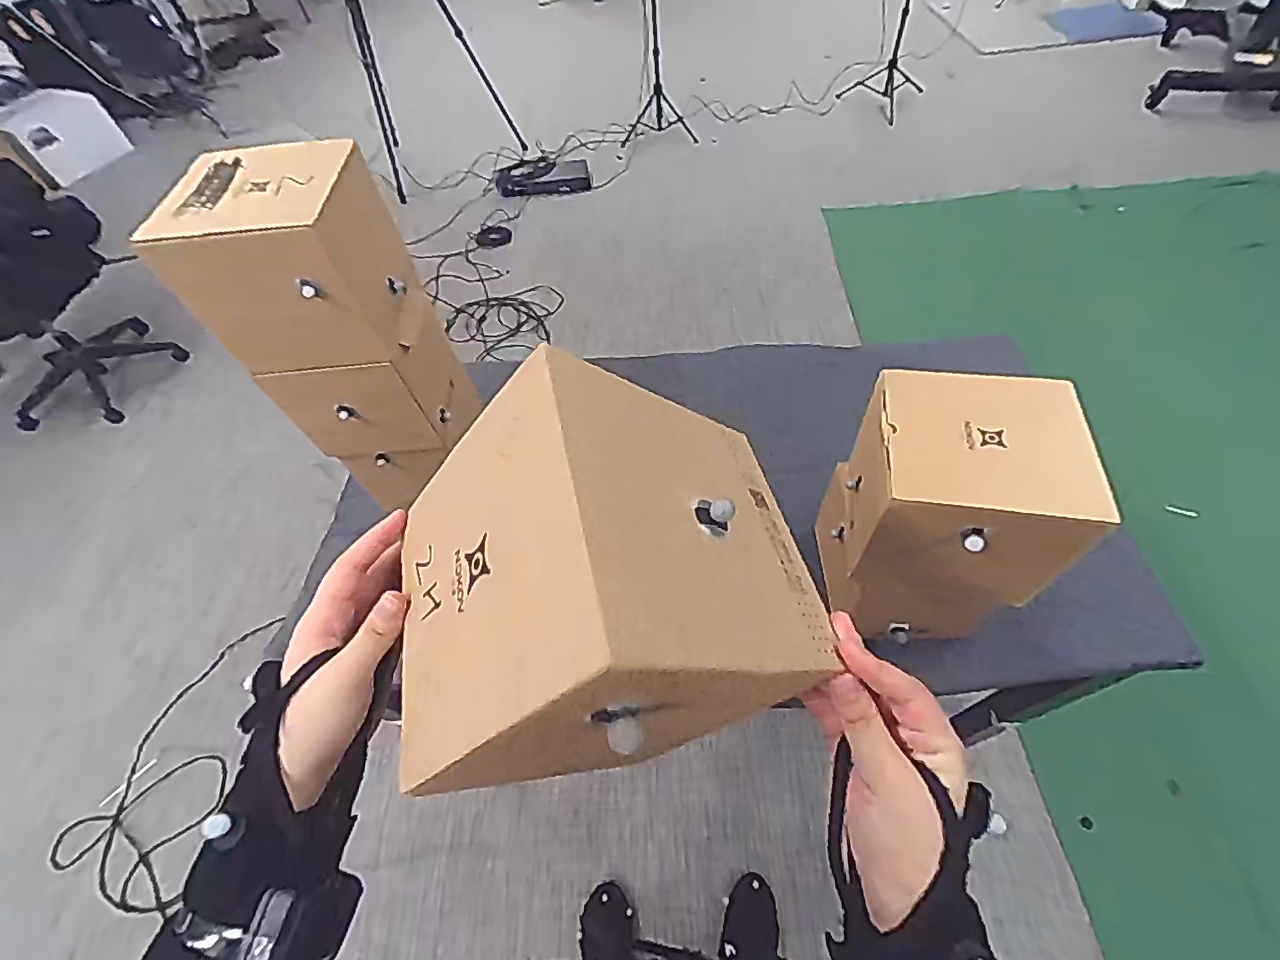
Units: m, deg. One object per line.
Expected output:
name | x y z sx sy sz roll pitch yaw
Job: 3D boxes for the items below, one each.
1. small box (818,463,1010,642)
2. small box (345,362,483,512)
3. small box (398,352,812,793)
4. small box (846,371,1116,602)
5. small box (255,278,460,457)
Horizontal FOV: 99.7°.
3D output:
small box | 0.336 0.094 0.695 0.168 0.176 0.179 -2 54 6
small box | -0.354 -0.068 0.888 0.168 0.176 0.179 -6 55 2
small box | -0.025 0.063 0.319 0.179 0.176 0.168 -40 50 34
small box | 0.321 0.011 0.556 0.179 0.176 0.168 6 55 12
small box | -0.366 -0.148 0.743 0.179 0.176 0.168 -6 56 3
